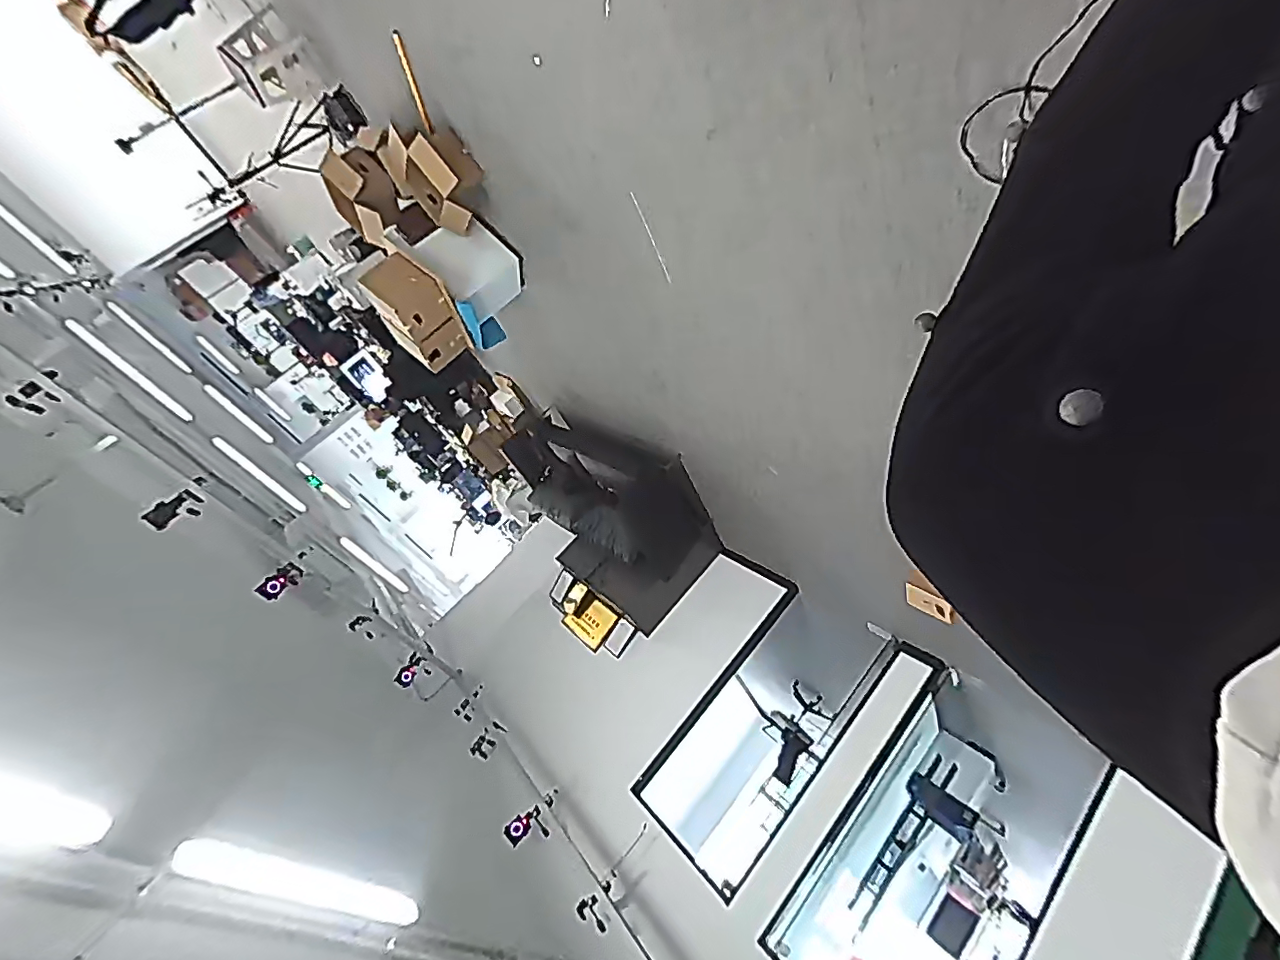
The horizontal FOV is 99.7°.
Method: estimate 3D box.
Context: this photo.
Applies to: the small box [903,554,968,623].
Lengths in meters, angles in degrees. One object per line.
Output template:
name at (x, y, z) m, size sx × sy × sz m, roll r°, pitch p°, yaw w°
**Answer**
small box at (1.172, 0.423, 2.138) m, size 0.179 × 0.176 × 0.168 m, roll 28°, pitch 156°, yaw 44°
